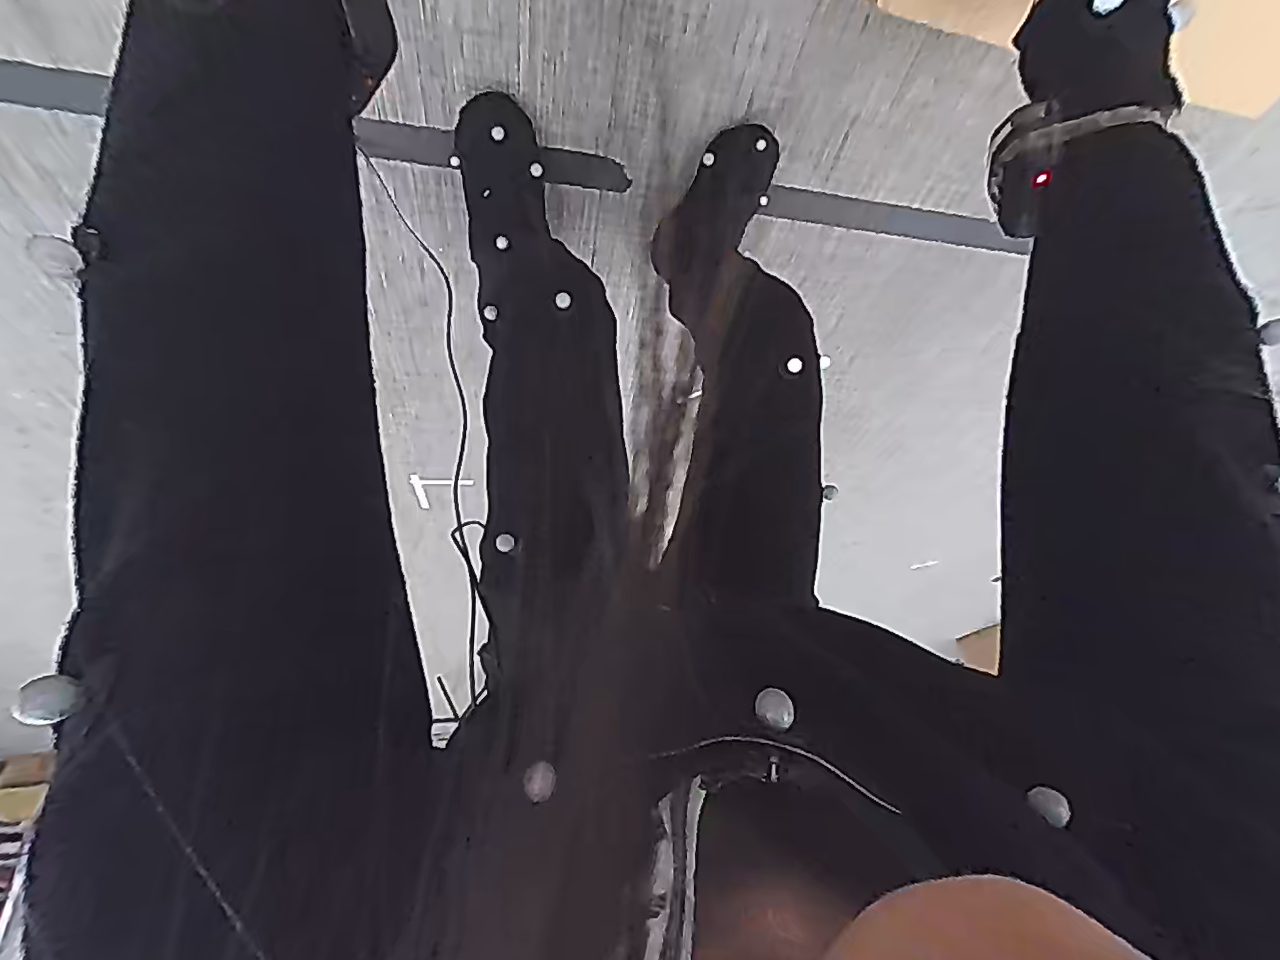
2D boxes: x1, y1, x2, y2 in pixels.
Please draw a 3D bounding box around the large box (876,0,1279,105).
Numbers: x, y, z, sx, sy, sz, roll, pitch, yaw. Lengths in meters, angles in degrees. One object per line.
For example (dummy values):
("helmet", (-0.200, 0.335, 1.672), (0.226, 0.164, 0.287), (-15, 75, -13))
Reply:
("large box", (0.387, -0.562, 0.414), (0.408, 0.320, 0.320), (2, 148, -15))
